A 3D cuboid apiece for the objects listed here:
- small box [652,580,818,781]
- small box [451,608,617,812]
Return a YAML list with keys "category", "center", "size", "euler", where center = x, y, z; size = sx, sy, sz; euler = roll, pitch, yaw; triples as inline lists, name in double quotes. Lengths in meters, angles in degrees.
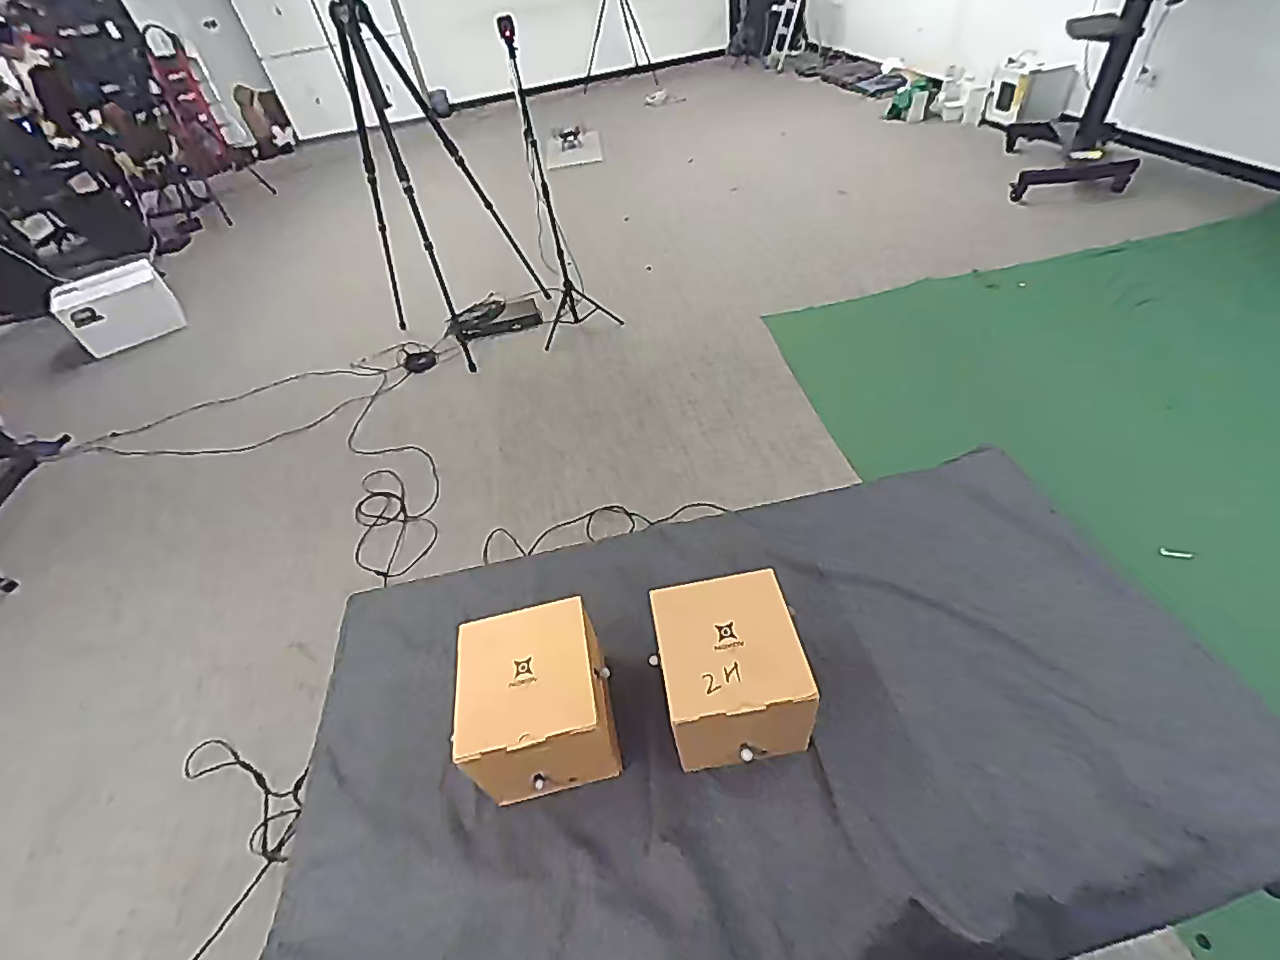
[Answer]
- category: "small box"
  center: [0.113, 0.259, 0.699]
  size: [0.168, 0.176, 0.179]
  euler: [-10, 44, 0]
- category: "small box"
  center: [-0.132, 0.300, 0.707]
  size: [0.168, 0.176, 0.179]
  euler: [-13, 45, -3]
